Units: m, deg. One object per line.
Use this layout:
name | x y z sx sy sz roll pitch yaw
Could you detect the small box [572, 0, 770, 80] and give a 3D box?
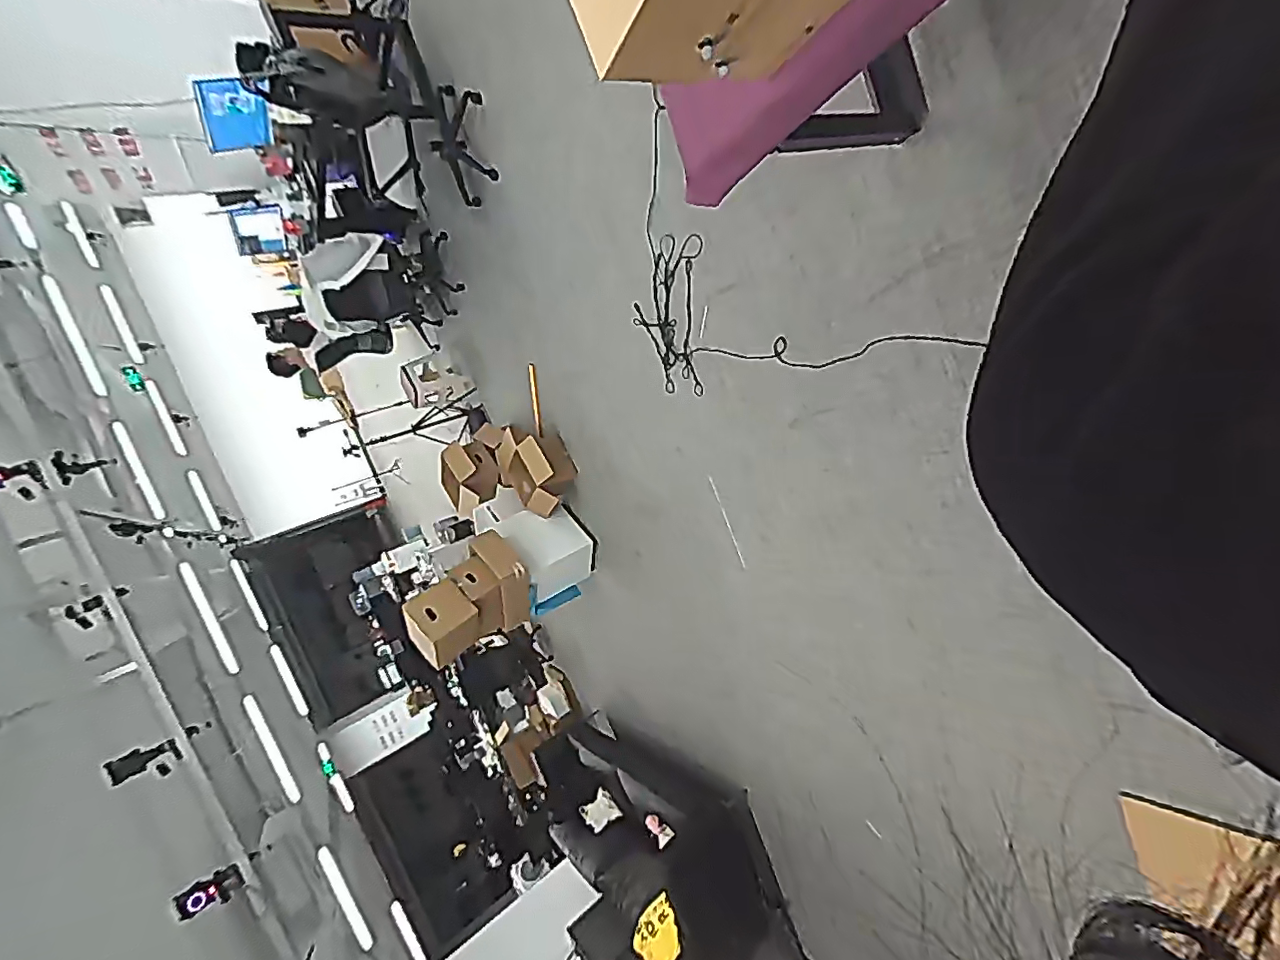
small box | 0.029 -0.605 0.628 0.168 0.176 0.179 -17 96 60
